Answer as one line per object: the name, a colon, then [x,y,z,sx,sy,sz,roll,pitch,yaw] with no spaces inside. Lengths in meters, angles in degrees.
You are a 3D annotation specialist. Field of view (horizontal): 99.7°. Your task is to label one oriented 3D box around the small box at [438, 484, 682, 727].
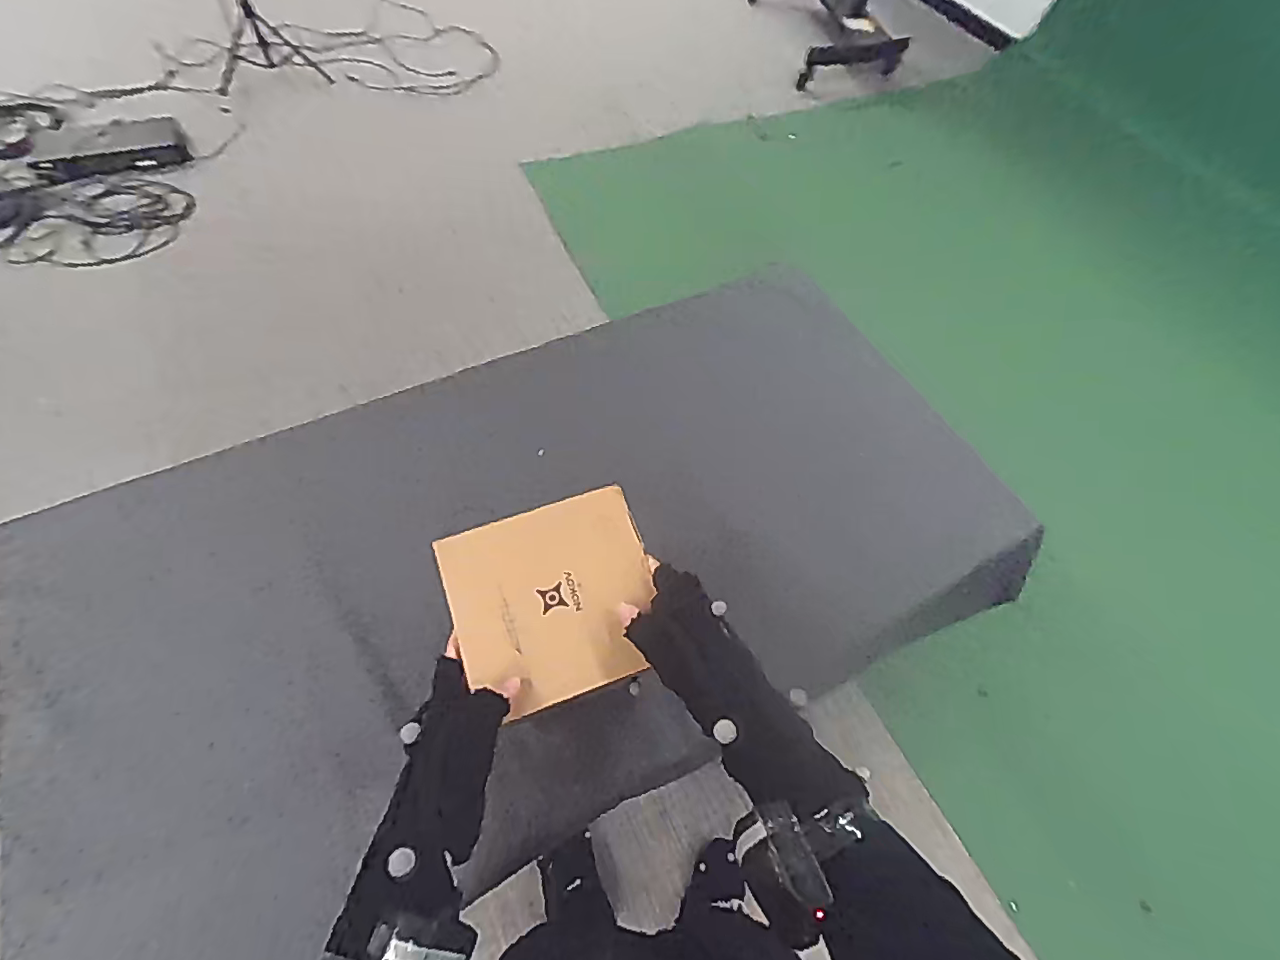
small box: [-0.076,0.128,0.540,0.179,0.176,0.168,-18,70,-10]
